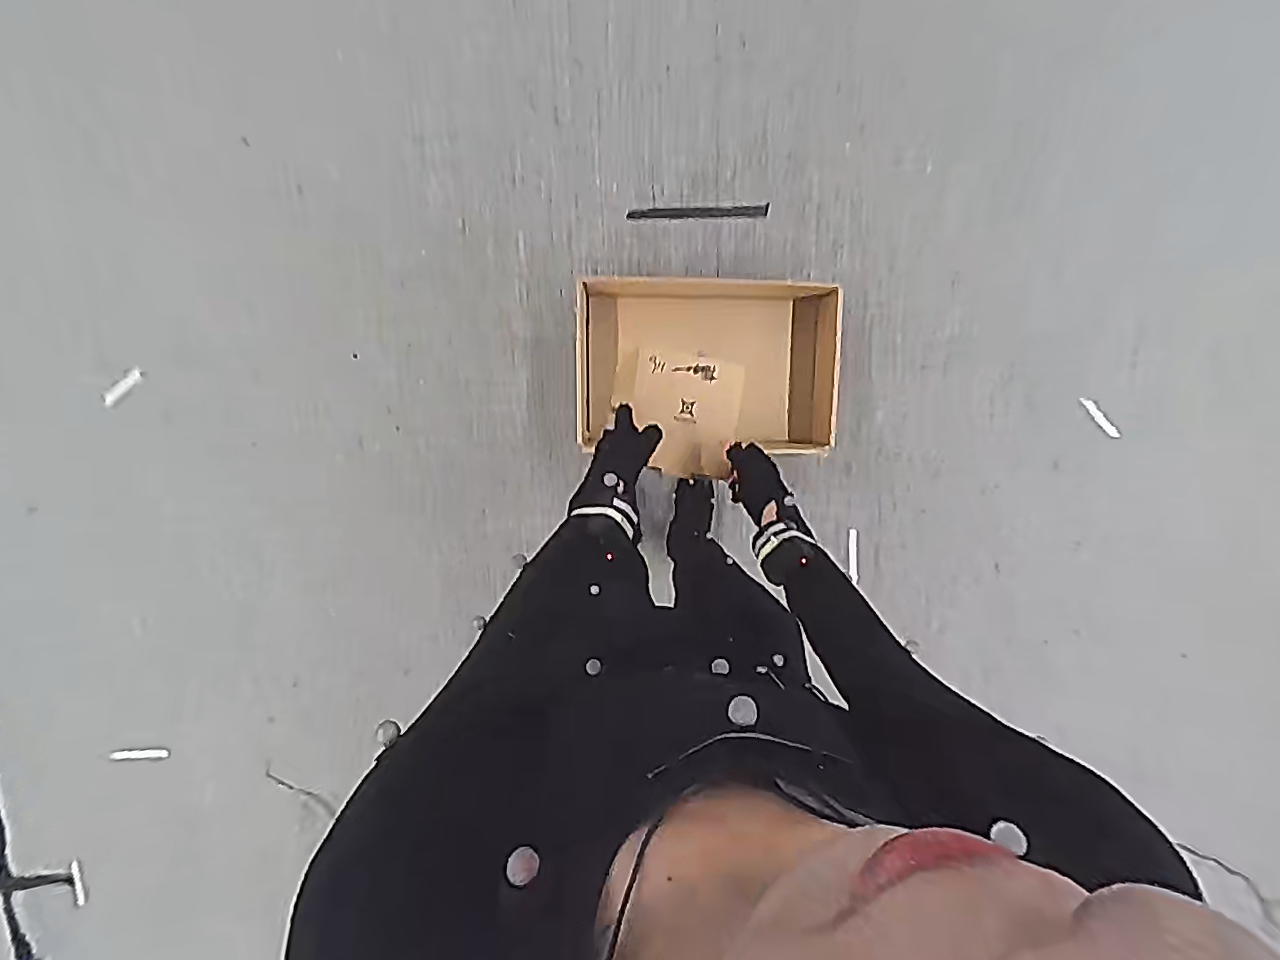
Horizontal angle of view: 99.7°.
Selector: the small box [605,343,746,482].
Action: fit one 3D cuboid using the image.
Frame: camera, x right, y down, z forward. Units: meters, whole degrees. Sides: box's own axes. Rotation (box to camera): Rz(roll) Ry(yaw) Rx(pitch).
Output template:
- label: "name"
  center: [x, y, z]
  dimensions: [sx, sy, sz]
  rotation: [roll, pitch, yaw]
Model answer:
- label: "small box"
  center: [0.046, -0.097, 0.850]
  dimensions: [0.168, 0.176, 0.179]
  rotation: [8, 90, -15]
